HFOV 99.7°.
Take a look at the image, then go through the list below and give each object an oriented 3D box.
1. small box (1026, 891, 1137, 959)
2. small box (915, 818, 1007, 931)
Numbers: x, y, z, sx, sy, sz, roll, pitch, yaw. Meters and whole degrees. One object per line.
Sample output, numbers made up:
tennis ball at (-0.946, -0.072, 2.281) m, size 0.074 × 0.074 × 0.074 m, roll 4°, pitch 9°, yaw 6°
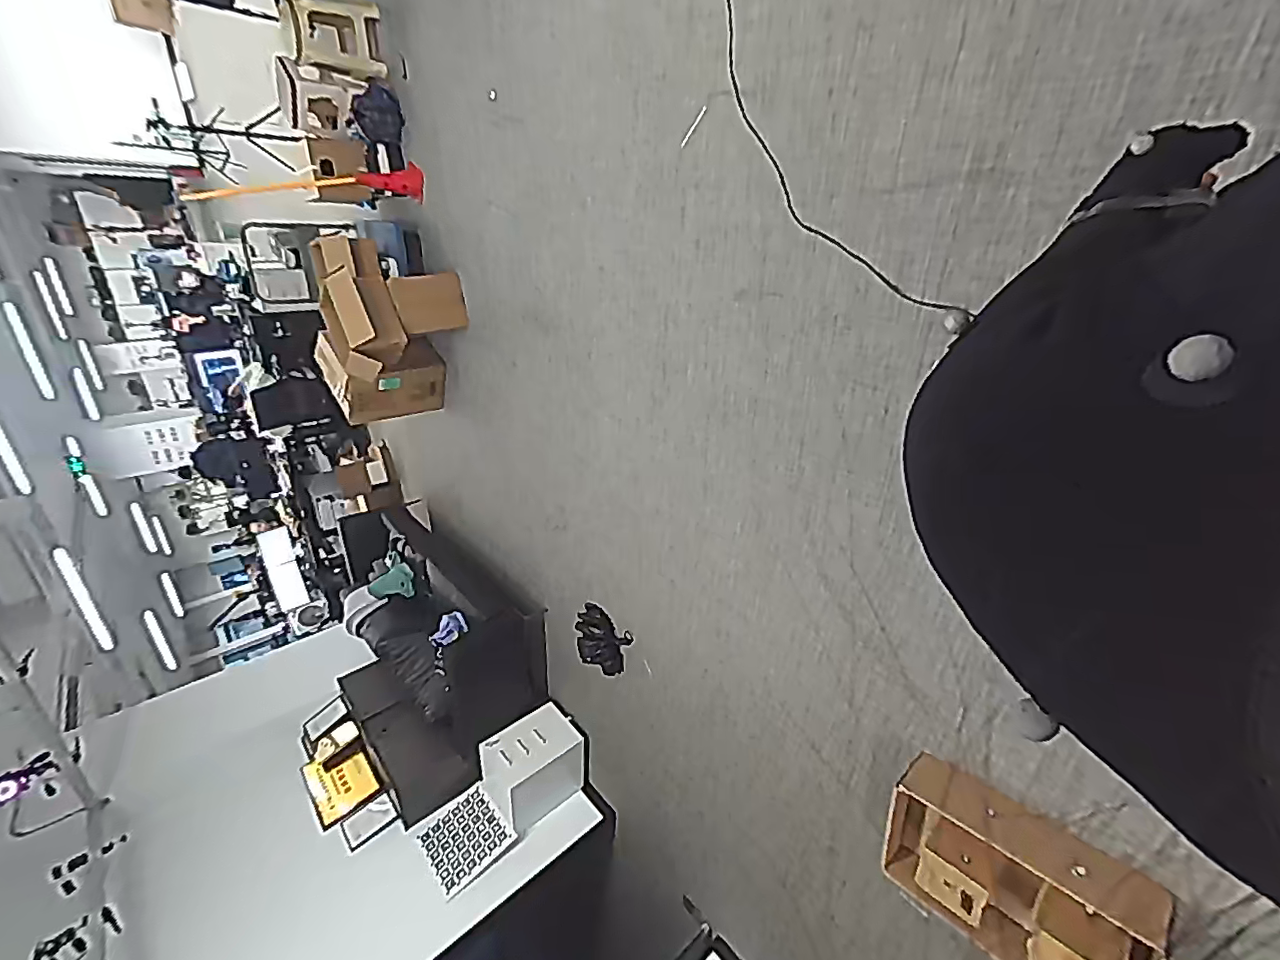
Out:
small box at (1.132, 1.213, 1.390) m, size 0.179 × 0.176 × 0.168 m, roll 17°, pitch 119°, yaw 48°
small box at (0.945, 1.147, 1.589) m, size 0.179 × 0.176 × 0.168 m, roll 22°, pitch 121°, yaw 43°
